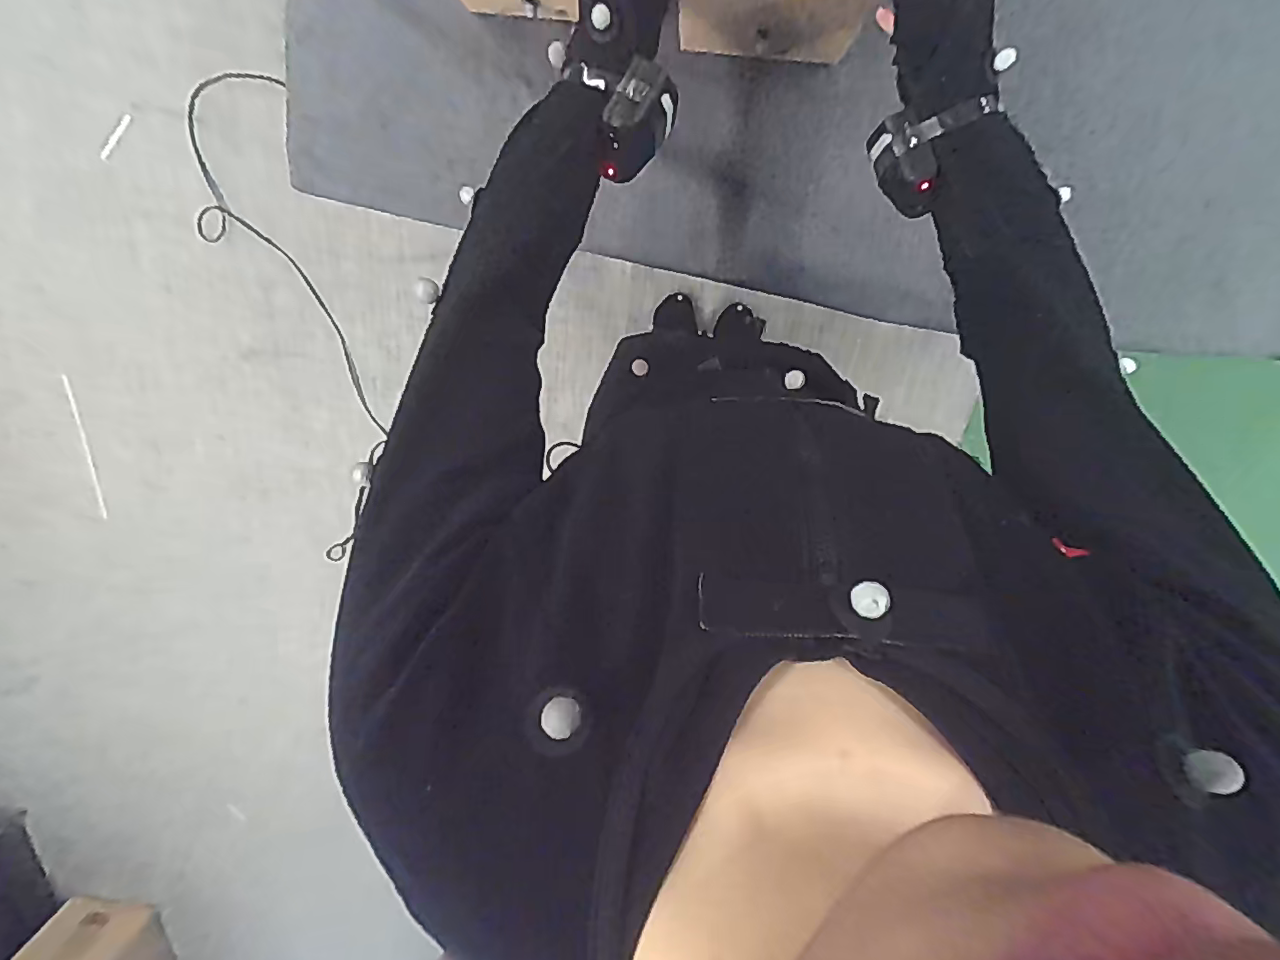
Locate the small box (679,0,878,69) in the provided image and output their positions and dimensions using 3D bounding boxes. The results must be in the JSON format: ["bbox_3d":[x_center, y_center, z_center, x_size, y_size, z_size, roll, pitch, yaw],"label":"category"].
[{"bbox_3d":[0.124,-0.493,0.463,0.168,0.176,0.179,8,112,2],"label":"small box"}]
